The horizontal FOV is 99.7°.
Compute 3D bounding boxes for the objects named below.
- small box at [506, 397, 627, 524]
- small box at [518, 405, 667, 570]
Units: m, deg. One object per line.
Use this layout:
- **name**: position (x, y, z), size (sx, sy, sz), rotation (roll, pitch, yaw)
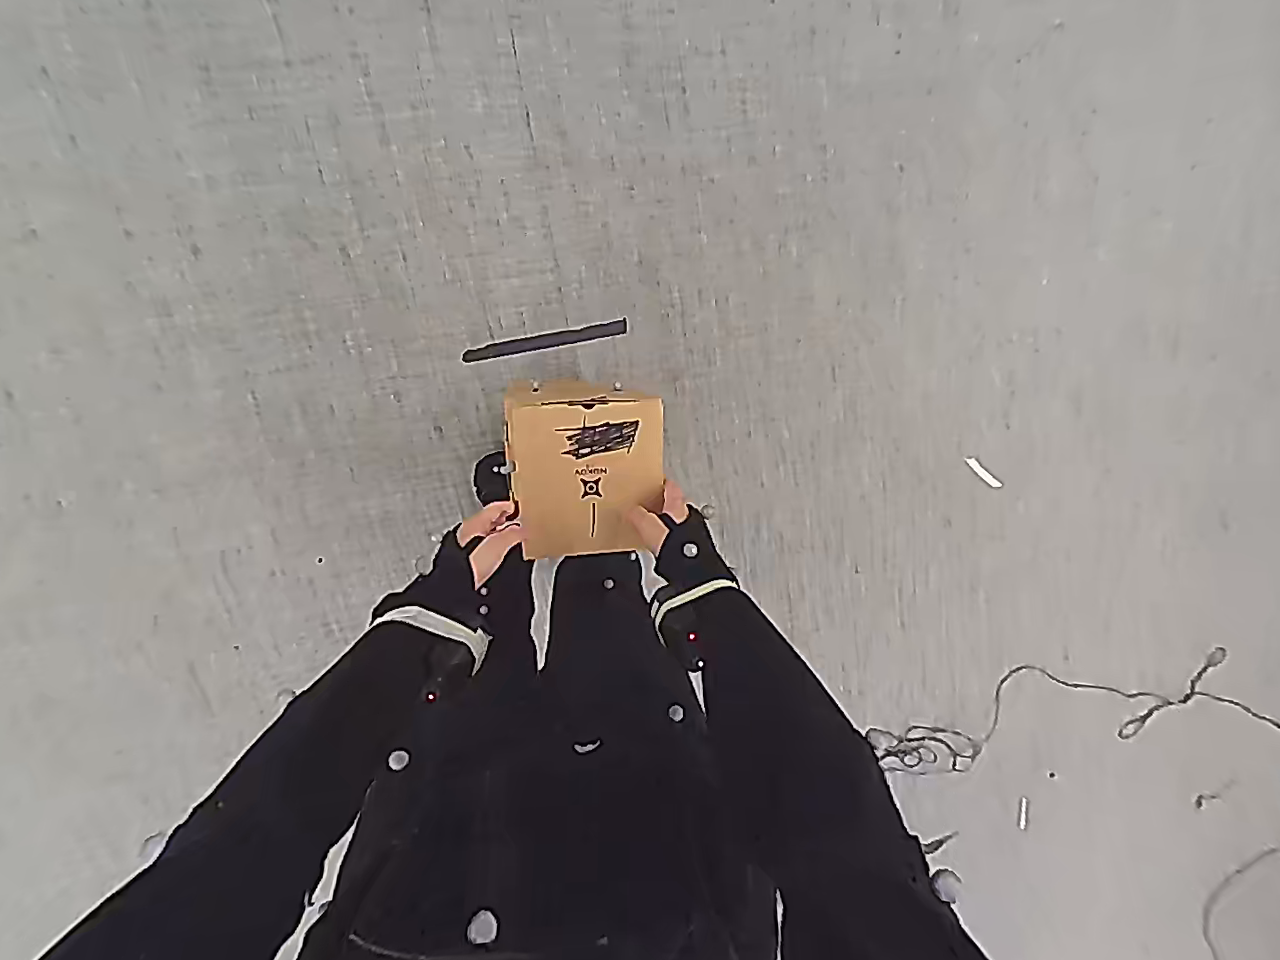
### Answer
- **small box**: position (-0.112, -0.039, 0.843), size (0.179, 0.176, 0.168), rotation (-4, 105, -12)
- **small box**: position (-0.065, -0.003, 0.683), size (0.168, 0.176, 0.179), rotation (-4, 103, -9)
